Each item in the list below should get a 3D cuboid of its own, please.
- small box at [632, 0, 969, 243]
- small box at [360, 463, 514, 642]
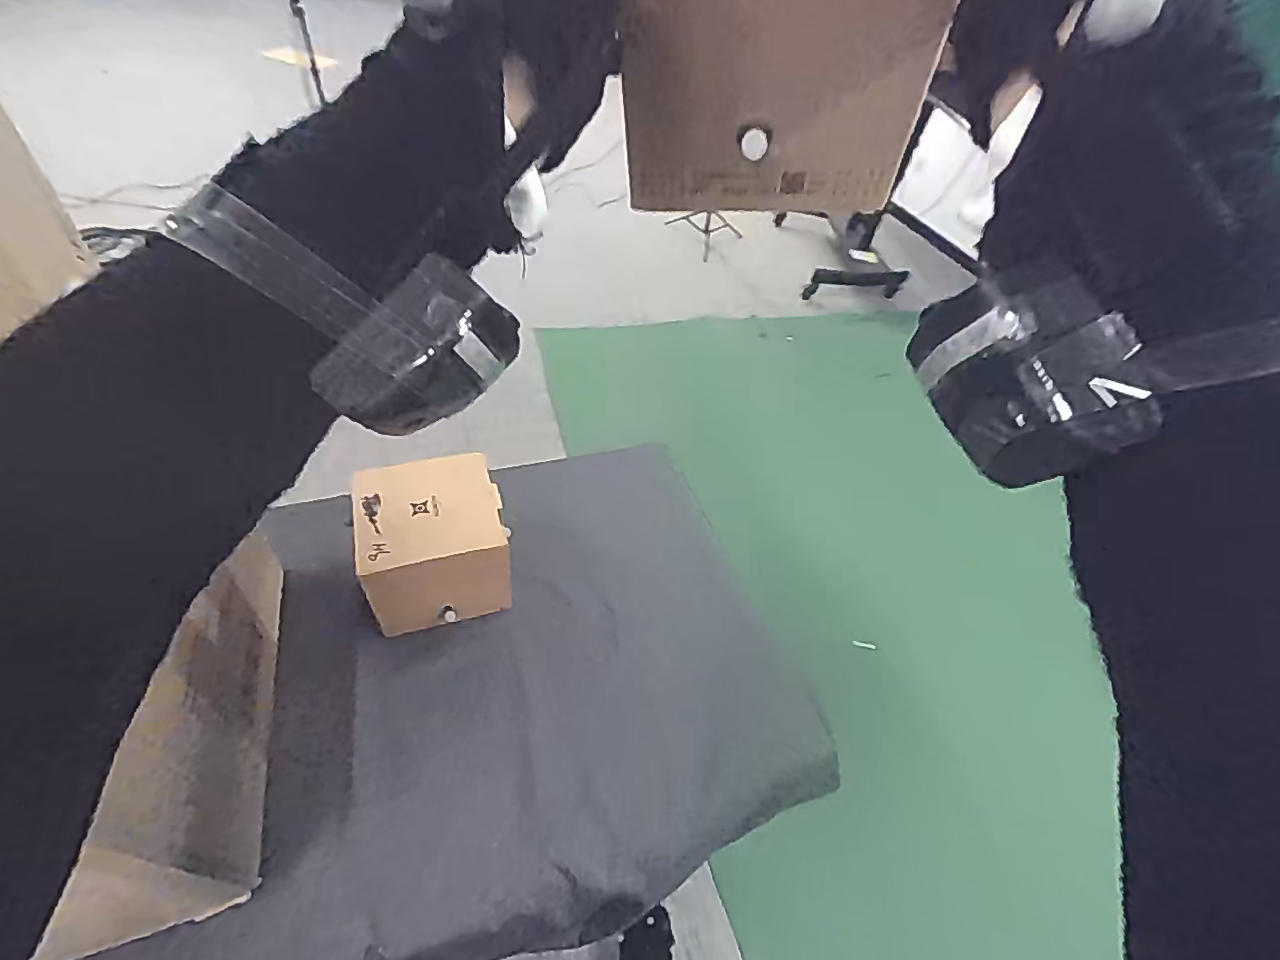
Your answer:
[{"bbox_3d":[0.084,-0.281,0.344,0.168,0.176,0.179,3,62,5],"label":"small box"},{"bbox_3d":[-0.279,0.102,0.761,0.179,0.176,0.168,-10,51,-19],"label":"small box"}]
